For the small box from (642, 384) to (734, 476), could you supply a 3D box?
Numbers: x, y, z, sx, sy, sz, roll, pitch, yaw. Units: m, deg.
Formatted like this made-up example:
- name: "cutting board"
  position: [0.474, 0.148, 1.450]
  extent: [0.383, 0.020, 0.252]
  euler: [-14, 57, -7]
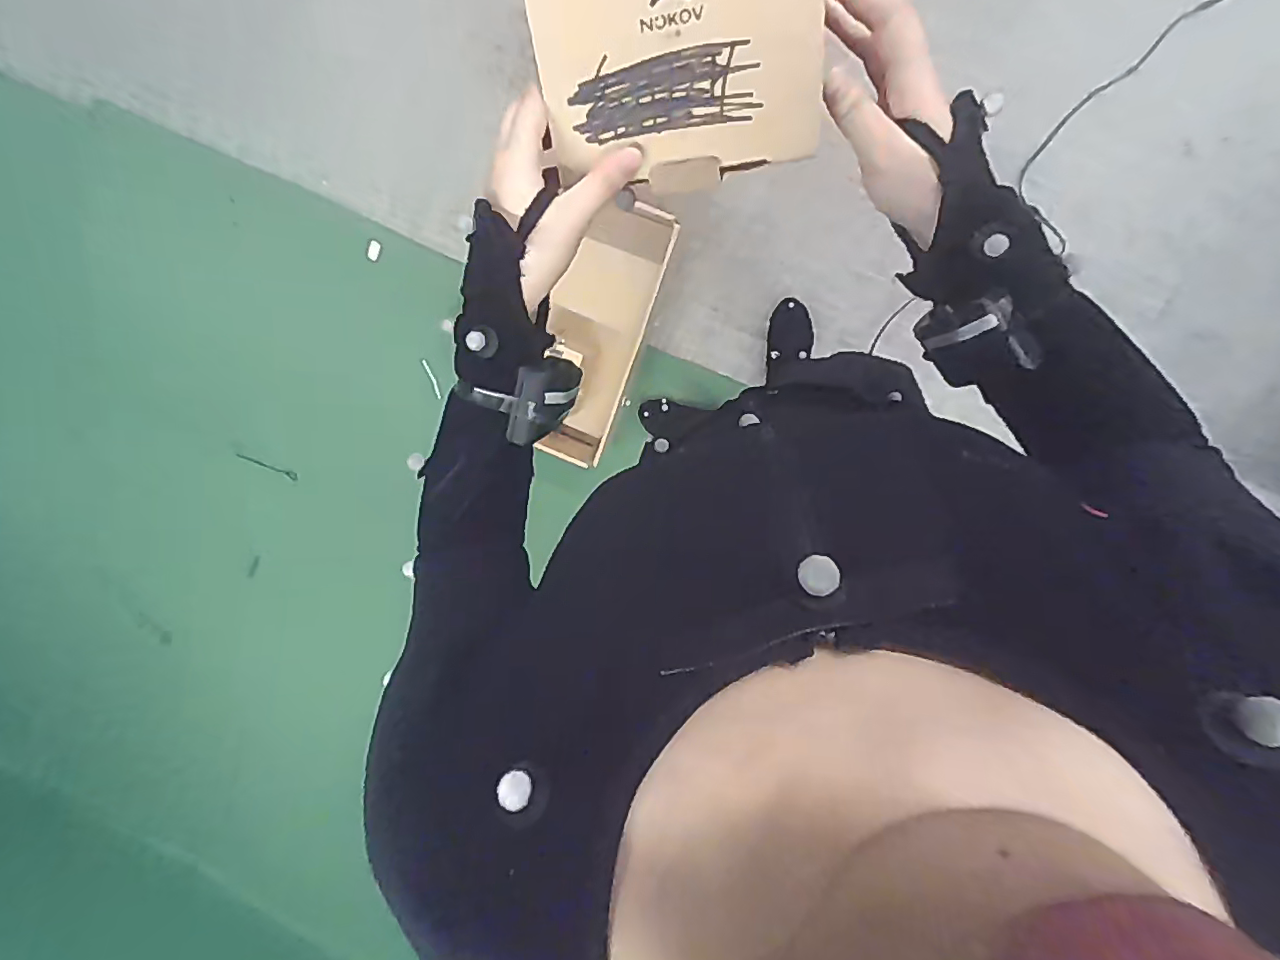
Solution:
- name: "small box"
  position: [0.117, -0.130, 1.372]
  extent: [0.176, 0.168, 0.179]
  euler: [-16, 75, -11]

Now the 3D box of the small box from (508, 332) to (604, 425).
- name: "small box"
  position: [-0.207, -0.262, 1.374]
  extent: [0.168, 0.176, 0.179]
  euler: [24, 109, 6]
